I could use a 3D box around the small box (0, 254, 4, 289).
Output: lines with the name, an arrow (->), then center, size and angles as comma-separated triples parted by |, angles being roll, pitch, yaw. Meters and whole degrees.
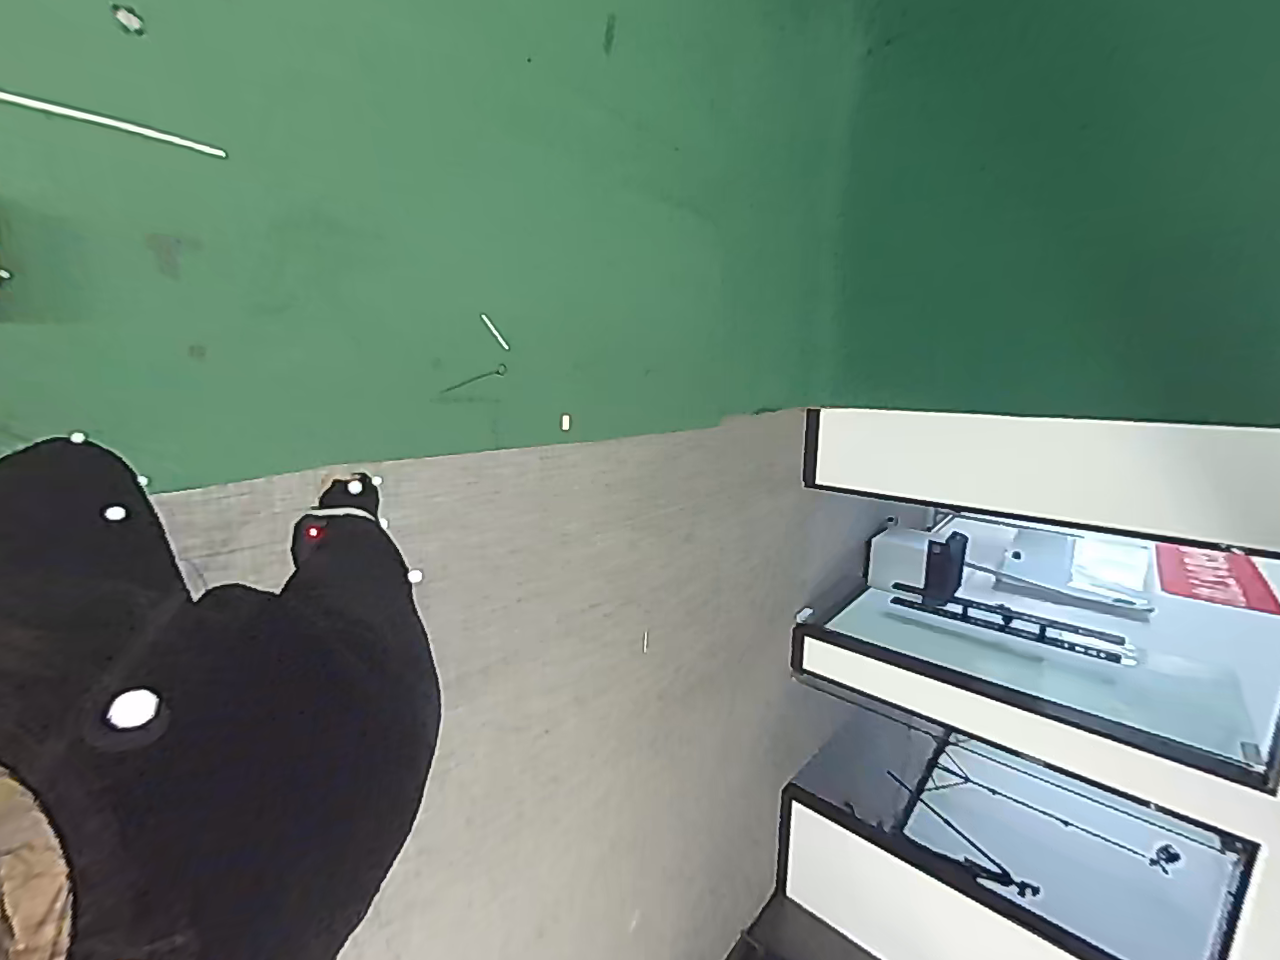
small box -> -1.024, -0.358, 0.748 | 0.179, 0.176, 0.168 | -9, 104, -46
